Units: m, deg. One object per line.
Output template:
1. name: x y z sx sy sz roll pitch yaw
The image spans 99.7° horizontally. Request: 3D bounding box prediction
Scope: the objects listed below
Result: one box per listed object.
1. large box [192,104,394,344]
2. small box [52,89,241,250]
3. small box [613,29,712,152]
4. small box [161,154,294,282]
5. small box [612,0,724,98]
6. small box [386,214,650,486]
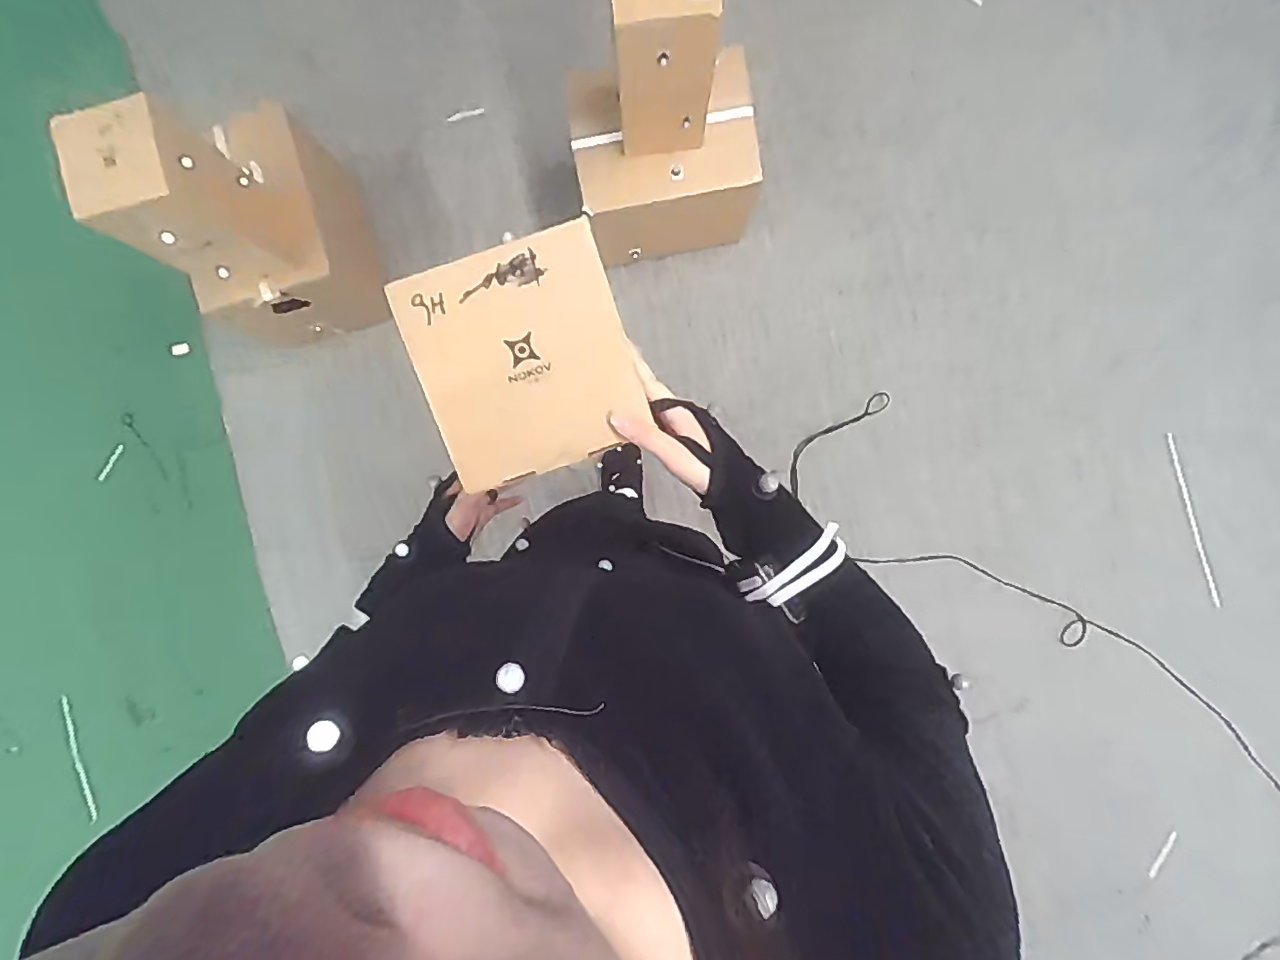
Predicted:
1. large box: -0.885 -0.610 1.361 0.320 0.320 0.408 -16 89 1
2. small box: -0.851 -0.528 0.952 0.168 0.176 0.179 -14 89 1
3. small box: 0.042 -0.802 1.097 0.179 0.176 0.168 -6 88 1
4. small box: -0.856 -0.528 1.117 0.168 0.176 0.179 -14 89 1
5. small box: 0.041 -0.802 0.933 0.179 0.176 0.168 -5 88 2
6. small box: -0.095 -0.115 0.504 0.168 0.176 0.179 -18 102 0
